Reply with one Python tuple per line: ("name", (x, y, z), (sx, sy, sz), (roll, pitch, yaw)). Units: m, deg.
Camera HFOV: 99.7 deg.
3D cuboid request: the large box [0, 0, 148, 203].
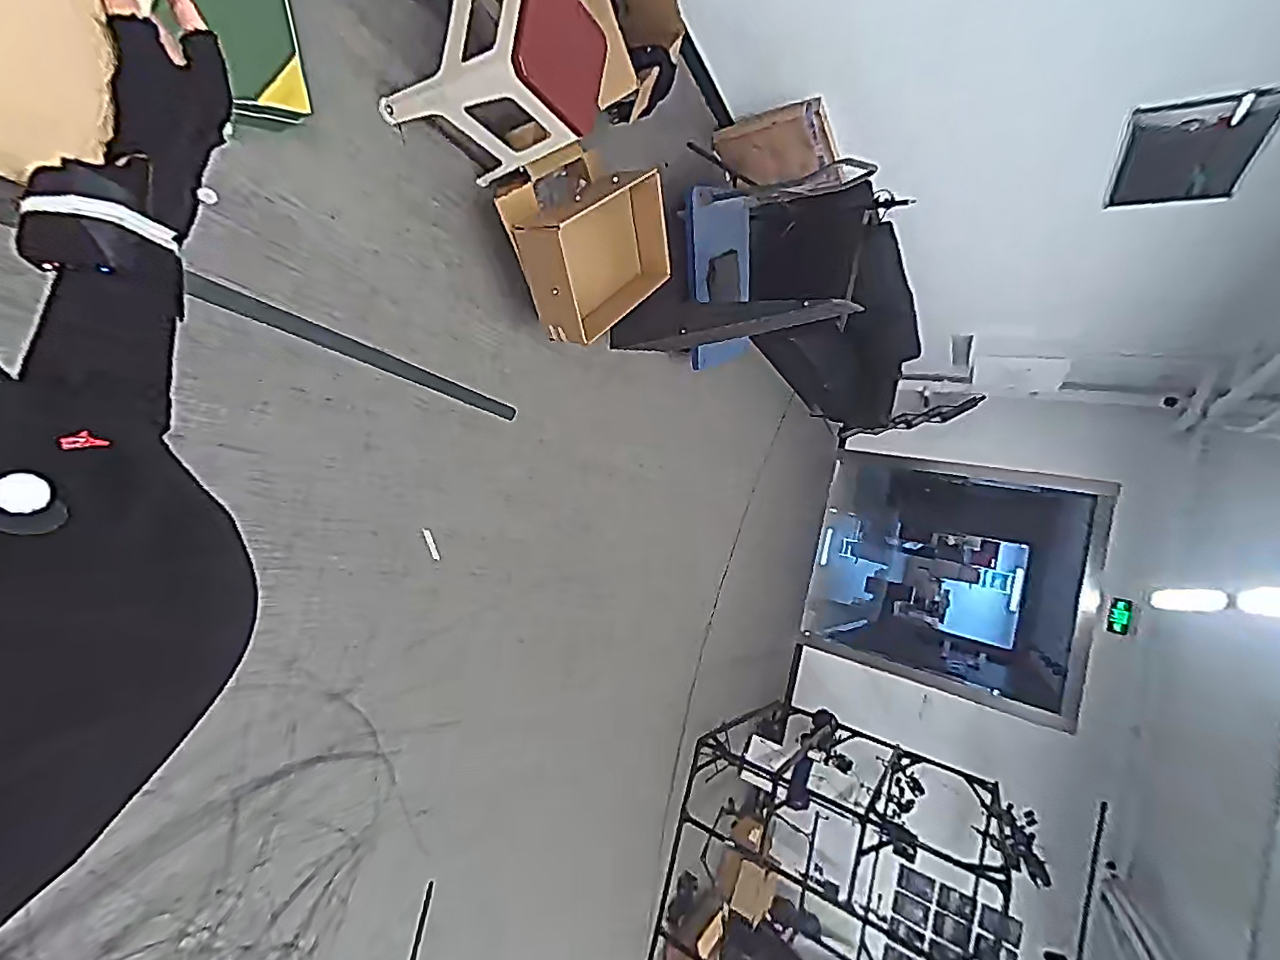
("large box", (-0.583, -0.412, 0.292), (0.408, 0.320, 0.320), (14, 95, -63))
